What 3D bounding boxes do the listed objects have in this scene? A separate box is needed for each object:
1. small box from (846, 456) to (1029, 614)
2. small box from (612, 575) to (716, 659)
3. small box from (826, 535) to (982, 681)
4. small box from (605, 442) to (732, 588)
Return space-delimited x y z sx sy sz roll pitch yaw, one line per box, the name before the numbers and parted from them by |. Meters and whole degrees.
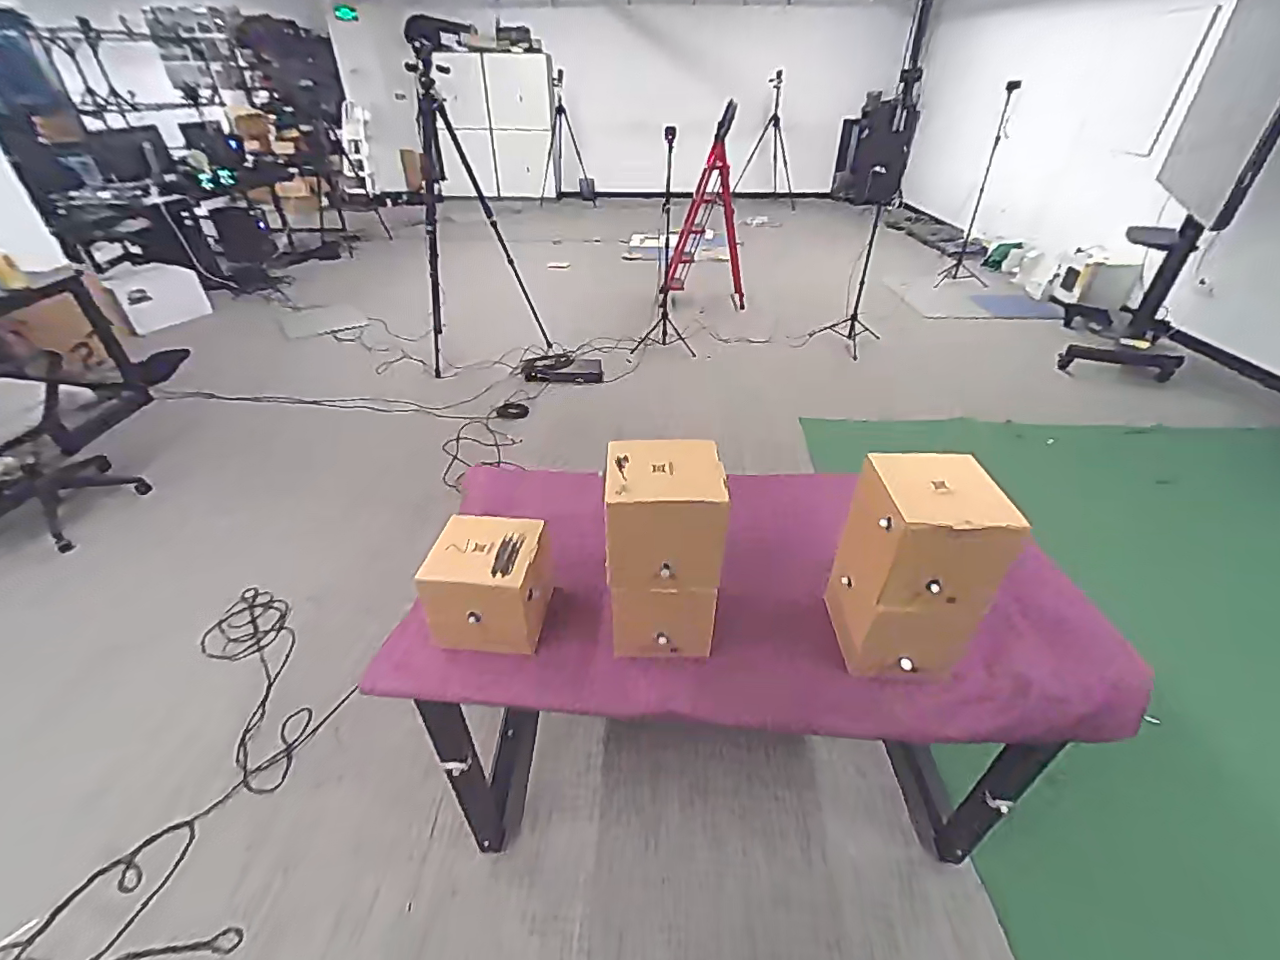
small box | 0.433 0.080 0.827 0.168 0.176 0.179 1 36 1
small box | 0.037 0.188 0.946 0.168 0.176 0.179 0 35 0
small box | 0.430 0.214 0.918 0.168 0.176 0.179 1 36 1
small box | 0.037 0.056 0.850 0.179 0.176 0.168 1 34 -1
